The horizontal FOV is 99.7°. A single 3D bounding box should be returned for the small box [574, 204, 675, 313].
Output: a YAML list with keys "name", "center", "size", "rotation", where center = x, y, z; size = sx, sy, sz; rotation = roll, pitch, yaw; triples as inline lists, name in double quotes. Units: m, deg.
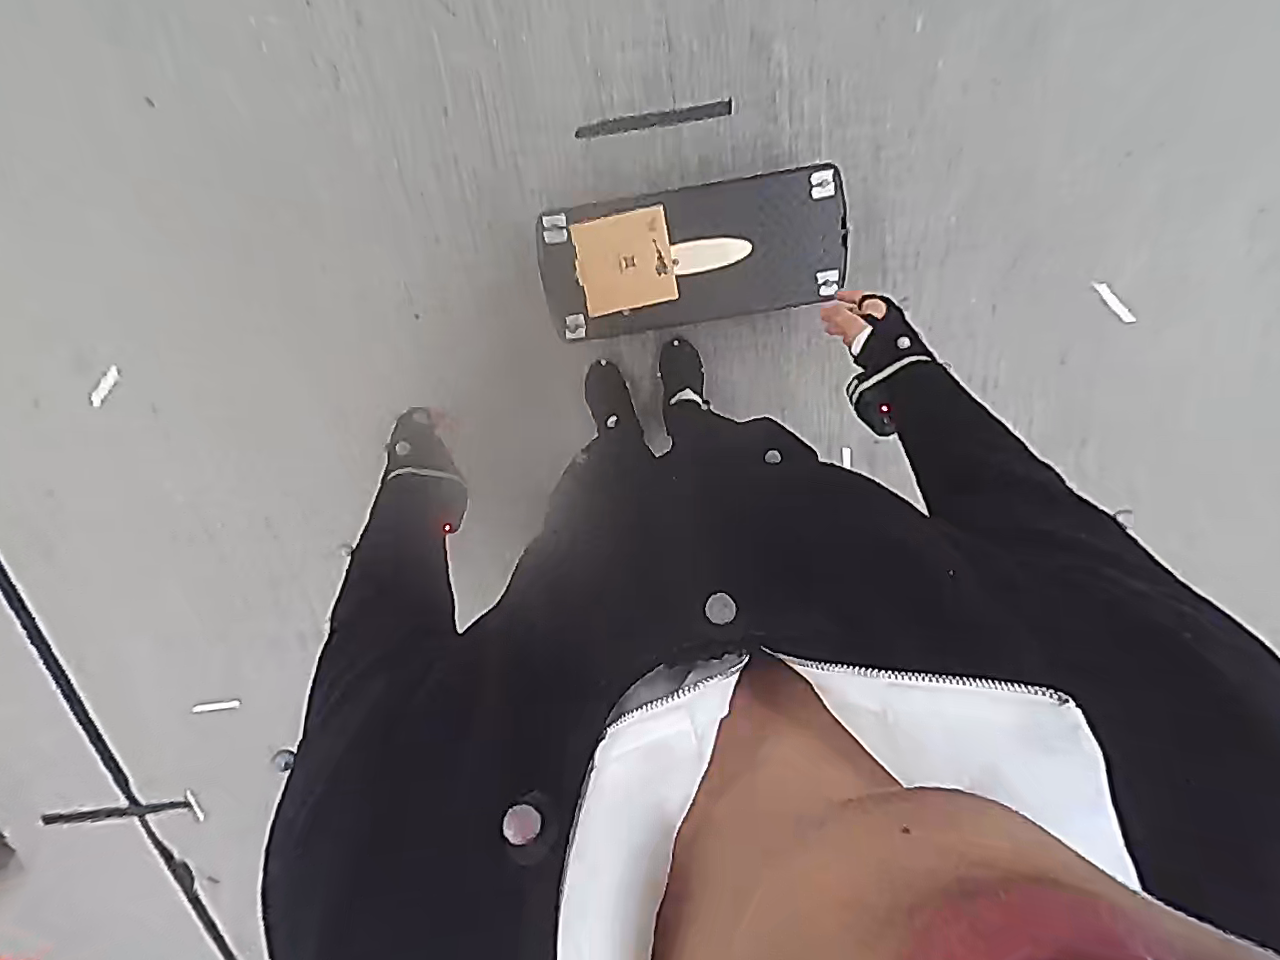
- name: "small box"
  center: [-0.032, -0.436, 1.085]
  size: [0.179, 0.176, 0.168]
  rotation: [-11, 109, 3]
